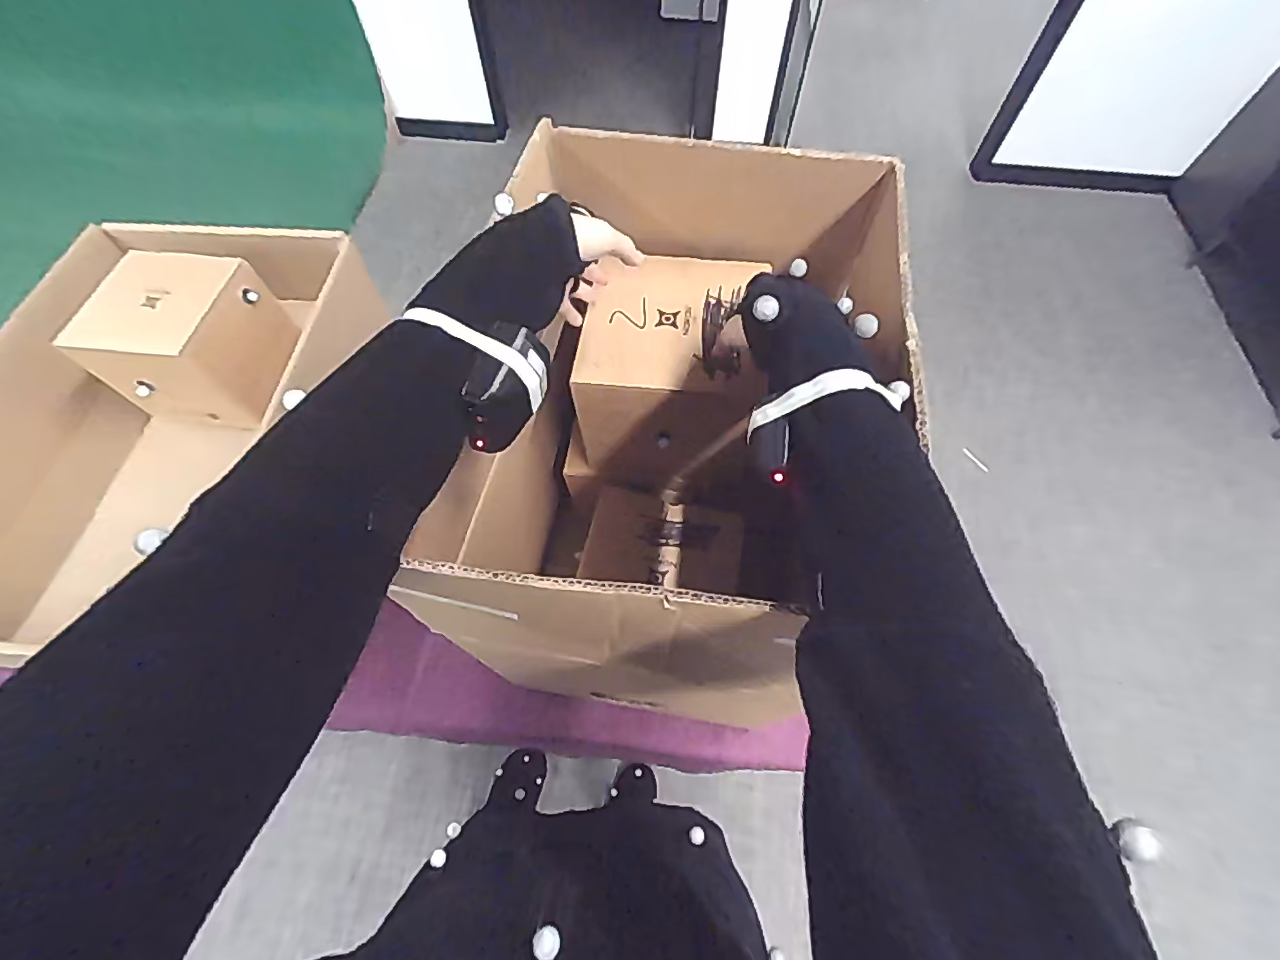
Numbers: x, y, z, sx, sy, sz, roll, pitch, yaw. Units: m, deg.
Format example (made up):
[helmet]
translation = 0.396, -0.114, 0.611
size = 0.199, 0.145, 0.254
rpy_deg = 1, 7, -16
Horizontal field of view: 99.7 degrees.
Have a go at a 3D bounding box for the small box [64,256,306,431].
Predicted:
[small box]
translation = -0.620, -0.188, 0.769
size = 0.168, 0.176, 0.179
rpy_deg = 5, 62, 4
